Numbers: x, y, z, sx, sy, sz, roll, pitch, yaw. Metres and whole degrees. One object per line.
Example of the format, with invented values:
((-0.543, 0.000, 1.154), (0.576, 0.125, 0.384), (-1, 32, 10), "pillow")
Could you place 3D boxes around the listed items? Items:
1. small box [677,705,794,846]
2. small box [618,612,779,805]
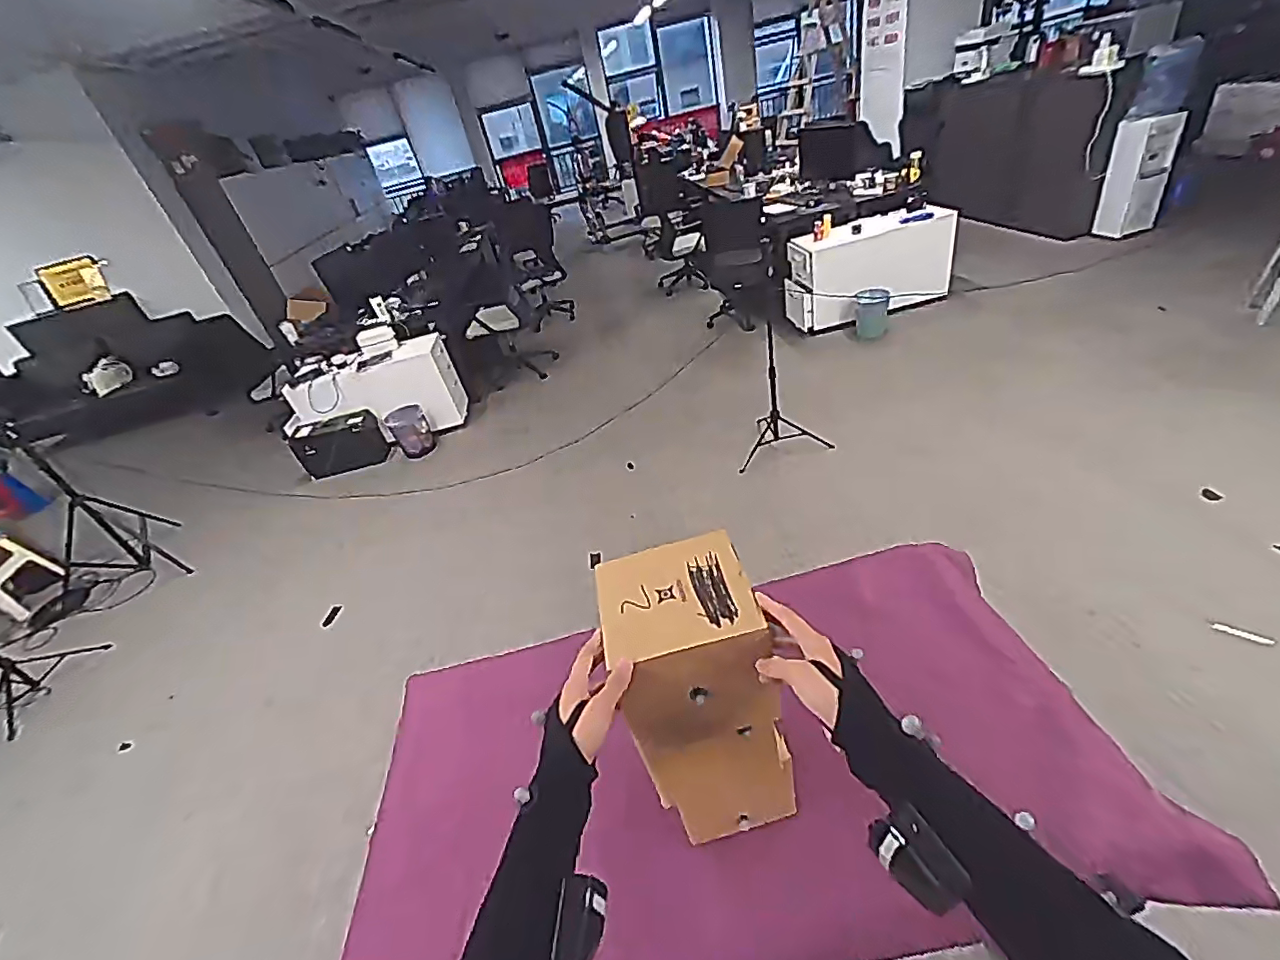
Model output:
((0.133, 0.442, 0.864), (0.179, 0.176, 0.168), (-16, 33, -3), "small box")
((0.081, 0.323, 0.764), (0.179, 0.176, 0.168), (-16, 34, -2), "small box")
